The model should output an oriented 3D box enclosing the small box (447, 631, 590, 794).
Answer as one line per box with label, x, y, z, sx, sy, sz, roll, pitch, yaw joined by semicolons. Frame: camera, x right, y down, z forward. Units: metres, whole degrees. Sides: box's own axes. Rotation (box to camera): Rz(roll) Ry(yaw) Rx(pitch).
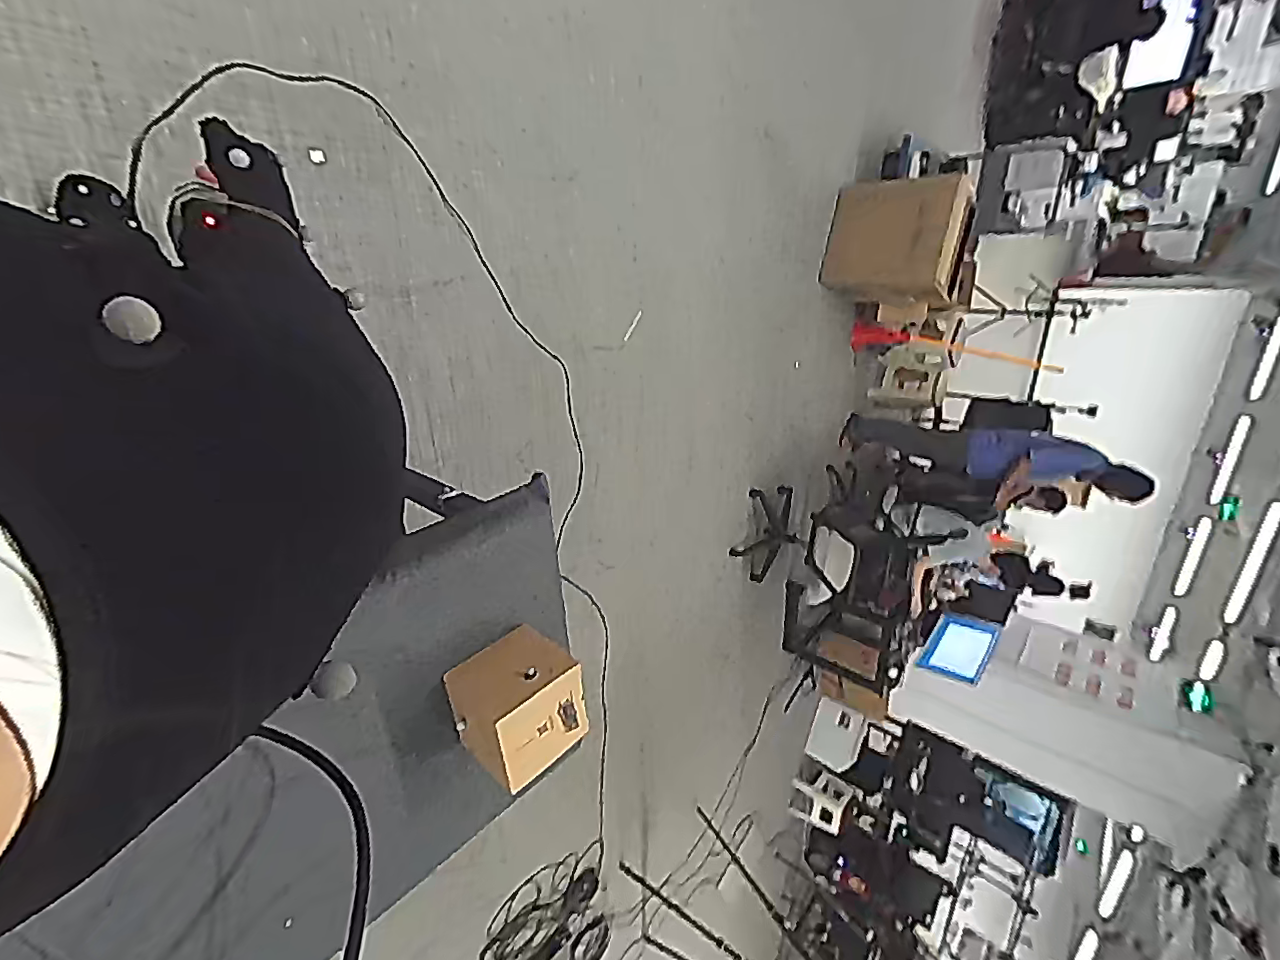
small box;-0.215;0.403;0.972;0.179;0.176;0.168;-26;121;-40
